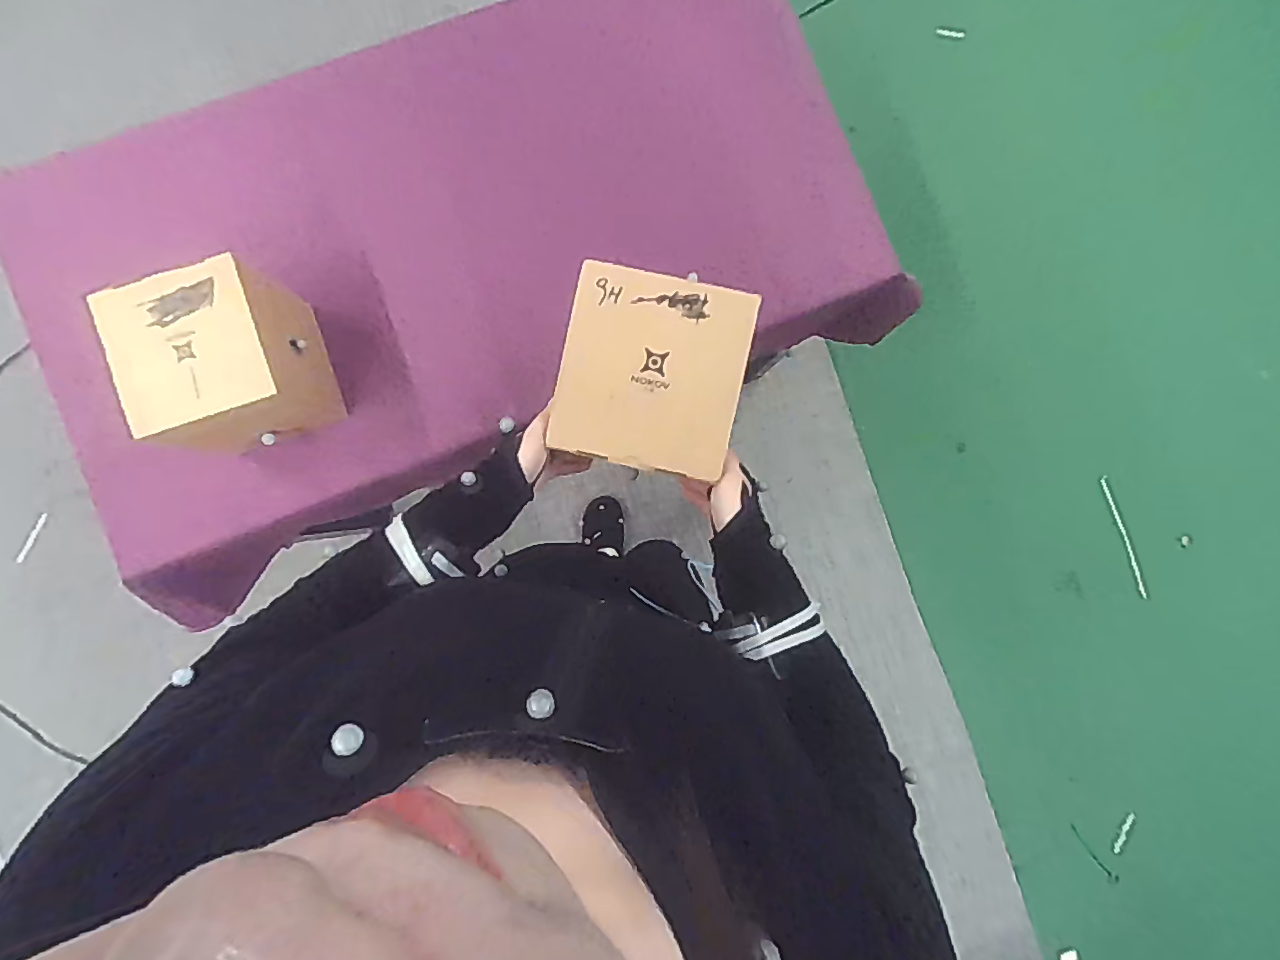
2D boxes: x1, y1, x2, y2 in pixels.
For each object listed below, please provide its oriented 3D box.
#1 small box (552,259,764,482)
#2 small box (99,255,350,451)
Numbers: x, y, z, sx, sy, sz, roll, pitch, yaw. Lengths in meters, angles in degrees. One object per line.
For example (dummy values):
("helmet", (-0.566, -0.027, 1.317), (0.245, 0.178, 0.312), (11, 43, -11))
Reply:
("small box", (0.018, -0.104, 0.571), (0.168, 0.176, 0.179), (12, 94, 1))
("small box", (-0.509, -0.148, 0.690), (0.168, 0.176, 0.179), (-19, 89, -4))
